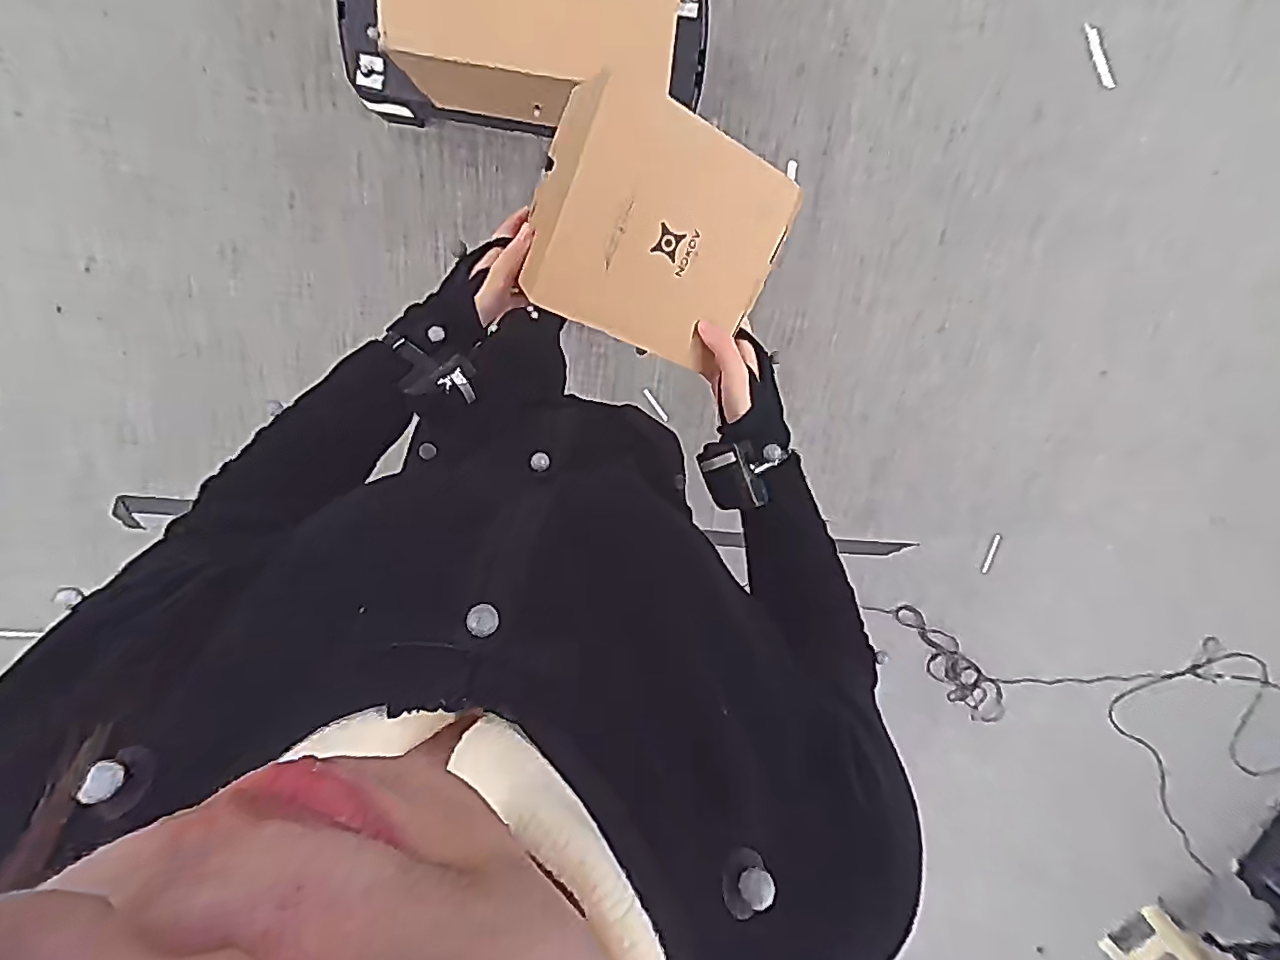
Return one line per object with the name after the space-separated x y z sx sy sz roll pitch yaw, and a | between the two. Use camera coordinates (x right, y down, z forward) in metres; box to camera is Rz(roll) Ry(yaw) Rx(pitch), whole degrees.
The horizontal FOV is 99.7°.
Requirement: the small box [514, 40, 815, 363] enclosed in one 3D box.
0.006 -0.228 0.469 0.179 0.176 0.168 16 111 -27 | small box

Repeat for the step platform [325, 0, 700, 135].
-0.229 -0.840 1.059 0.684 0.204 0.286 9 110 -9 | step platform

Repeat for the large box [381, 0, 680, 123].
-0.149 -0.766 0.840 0.408 0.320 0.320 4 110 -7 | large box
